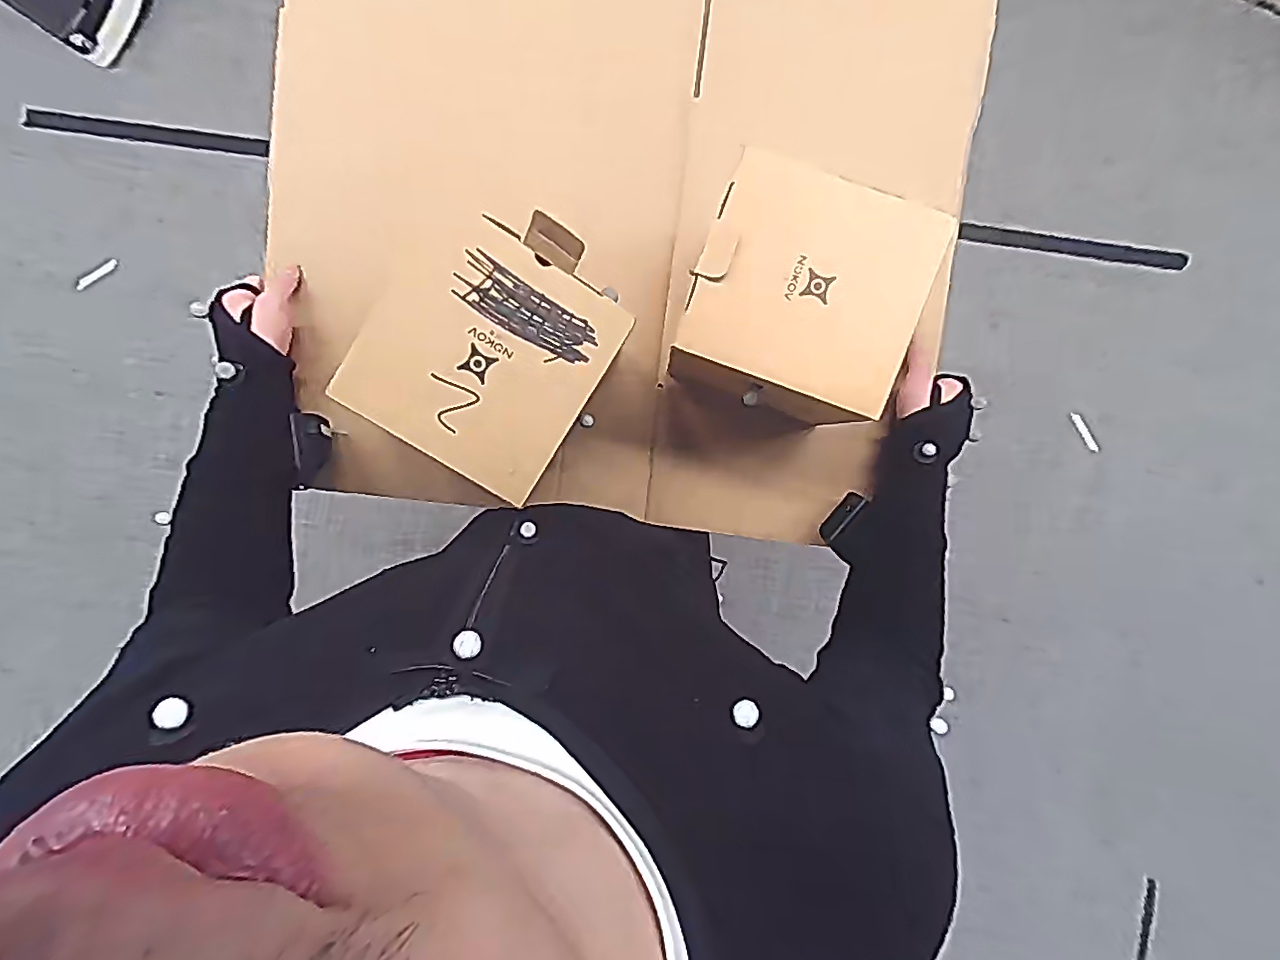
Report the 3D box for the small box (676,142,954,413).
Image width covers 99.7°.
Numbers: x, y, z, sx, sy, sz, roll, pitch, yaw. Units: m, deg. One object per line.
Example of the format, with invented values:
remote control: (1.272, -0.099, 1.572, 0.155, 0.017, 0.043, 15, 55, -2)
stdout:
small box: (0.142, -0.168, 0.510, 0.179, 0.176, 0.168, 20, 95, 2)
